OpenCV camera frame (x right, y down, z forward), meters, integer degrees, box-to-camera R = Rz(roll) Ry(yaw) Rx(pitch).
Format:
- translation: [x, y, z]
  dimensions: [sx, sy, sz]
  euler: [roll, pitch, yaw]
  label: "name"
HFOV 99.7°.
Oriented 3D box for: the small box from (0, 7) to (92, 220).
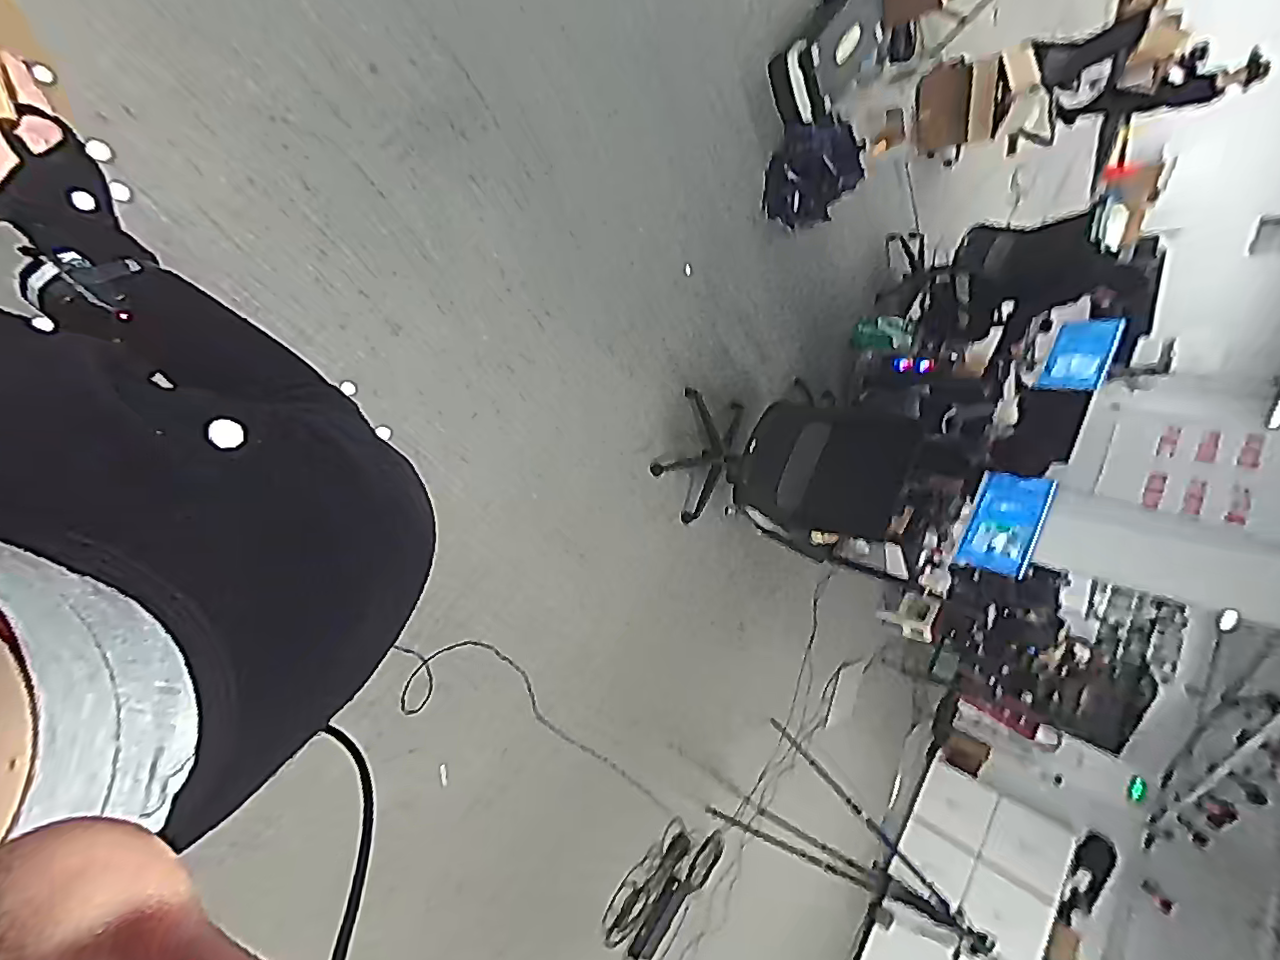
- translation: [-0.625, -0.338, 0.448]
  dimensions: [0.168, 0.176, 0.179]
  euler: [-19, 99, -23]
  label: "small box"
